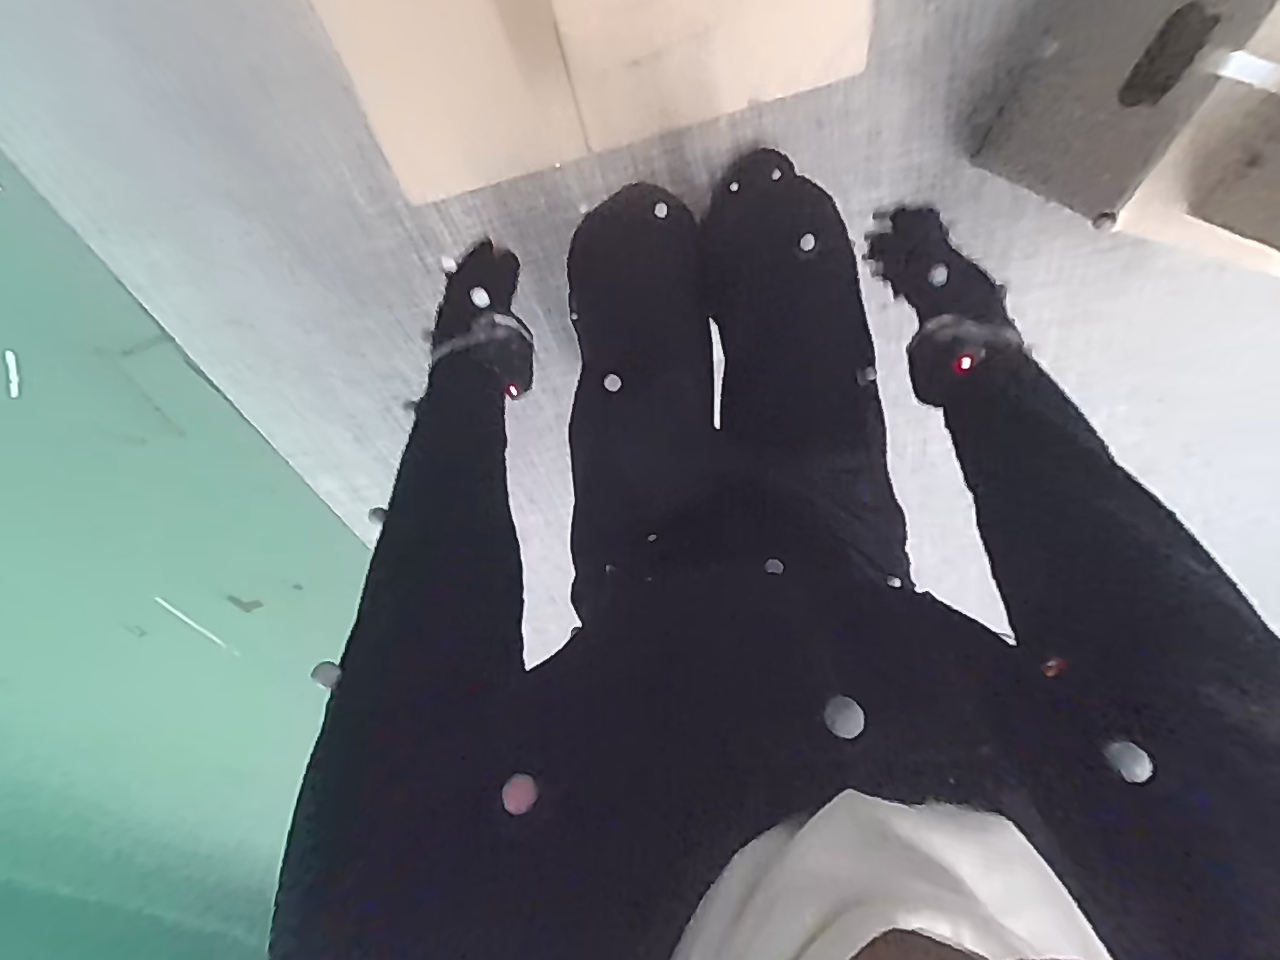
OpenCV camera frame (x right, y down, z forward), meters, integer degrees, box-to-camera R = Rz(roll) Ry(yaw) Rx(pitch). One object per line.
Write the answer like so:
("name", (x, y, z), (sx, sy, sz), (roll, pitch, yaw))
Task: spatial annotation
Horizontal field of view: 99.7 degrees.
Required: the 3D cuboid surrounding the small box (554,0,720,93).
("small box", (-0.012, -0.580, 0.617), (0.168, 0.176, 0.179), (-13, 130, 14))
